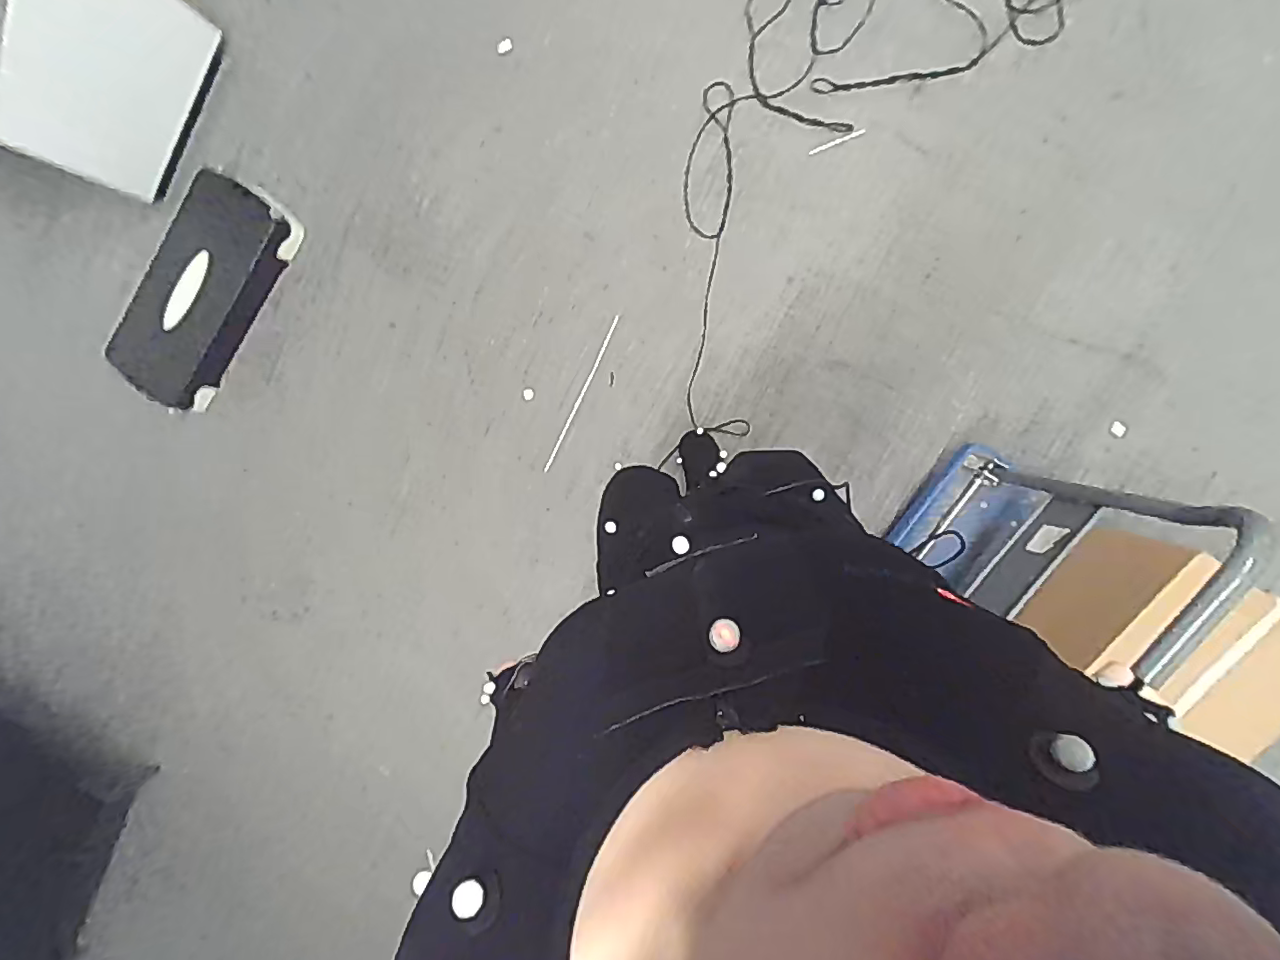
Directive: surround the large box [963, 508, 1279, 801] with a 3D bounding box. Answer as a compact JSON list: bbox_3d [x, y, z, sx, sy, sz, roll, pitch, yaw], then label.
[{"bbox_3d":[0.976,0.322,1.104,0.320,0.320,0.408,36,100,4],"label":"large box"}]
